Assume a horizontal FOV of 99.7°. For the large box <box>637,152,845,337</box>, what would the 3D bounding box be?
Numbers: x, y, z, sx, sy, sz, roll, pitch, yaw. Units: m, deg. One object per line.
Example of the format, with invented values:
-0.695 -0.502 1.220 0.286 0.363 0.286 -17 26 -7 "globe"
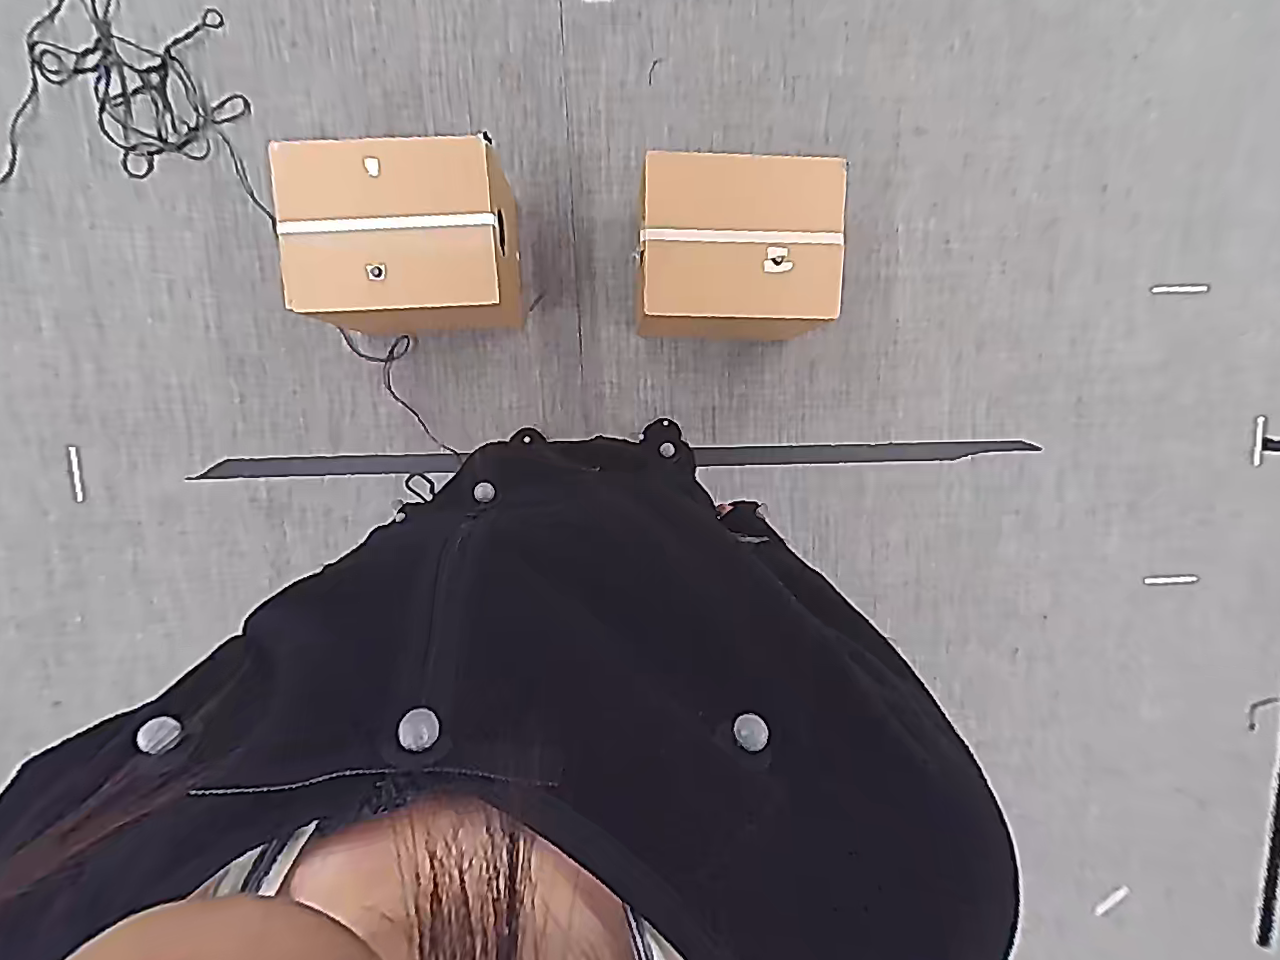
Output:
0.201 -0.507 1.234 0.408 0.320 0.320 0 97 -4 "large box"
